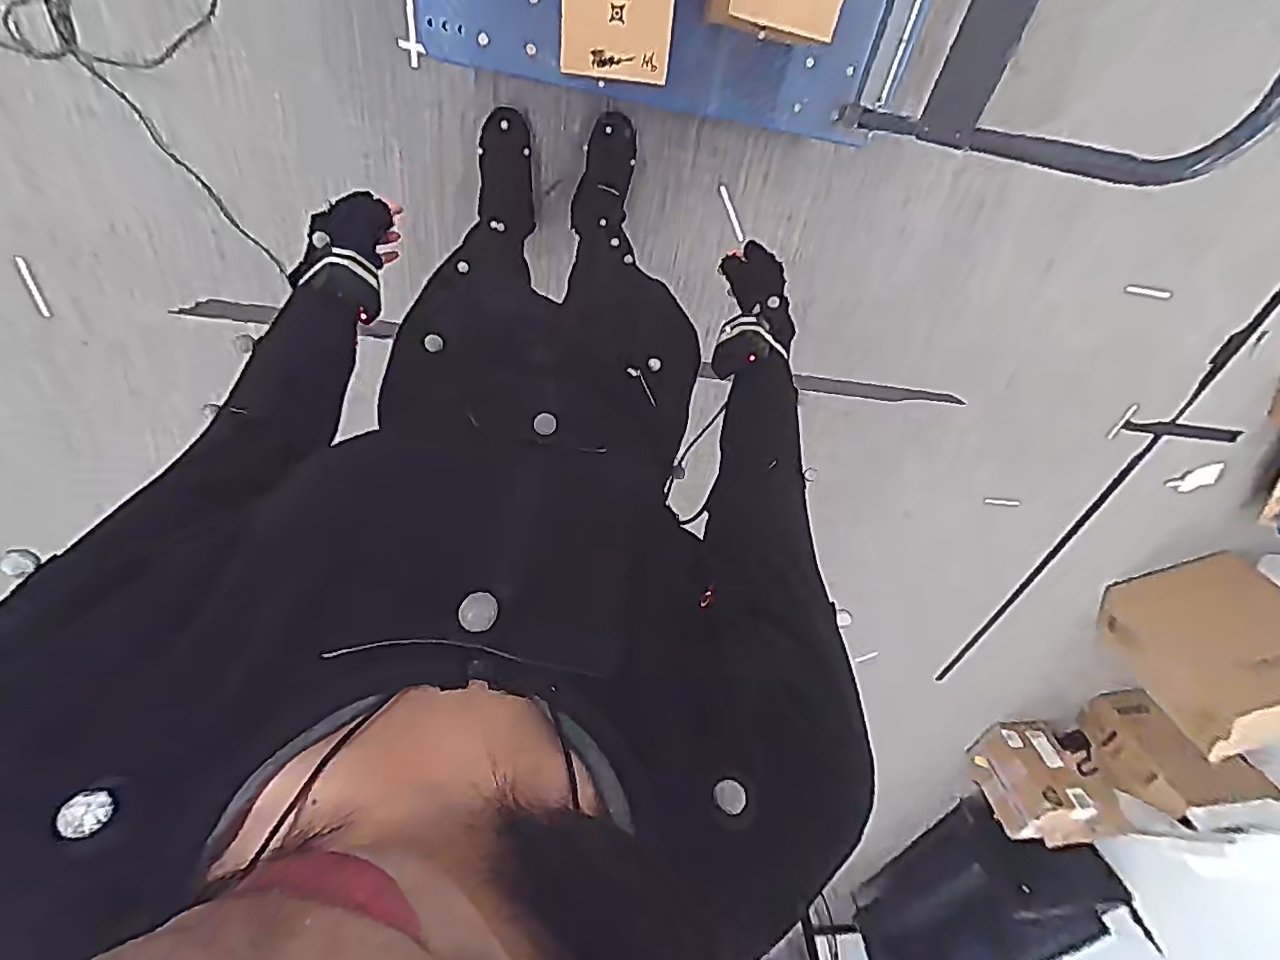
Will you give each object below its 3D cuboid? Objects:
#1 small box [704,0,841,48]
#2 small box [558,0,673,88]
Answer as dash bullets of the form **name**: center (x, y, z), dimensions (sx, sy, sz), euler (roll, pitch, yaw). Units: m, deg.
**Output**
- **small box**: center (0.214, -0.798, 0.846), dimensions (0.179, 0.176, 0.168), euler (5, 127, -13)
- **small box**: center (-0.043, -0.739, 0.855), dimensions (0.168, 0.176, 0.179), euler (1, 127, -9)
